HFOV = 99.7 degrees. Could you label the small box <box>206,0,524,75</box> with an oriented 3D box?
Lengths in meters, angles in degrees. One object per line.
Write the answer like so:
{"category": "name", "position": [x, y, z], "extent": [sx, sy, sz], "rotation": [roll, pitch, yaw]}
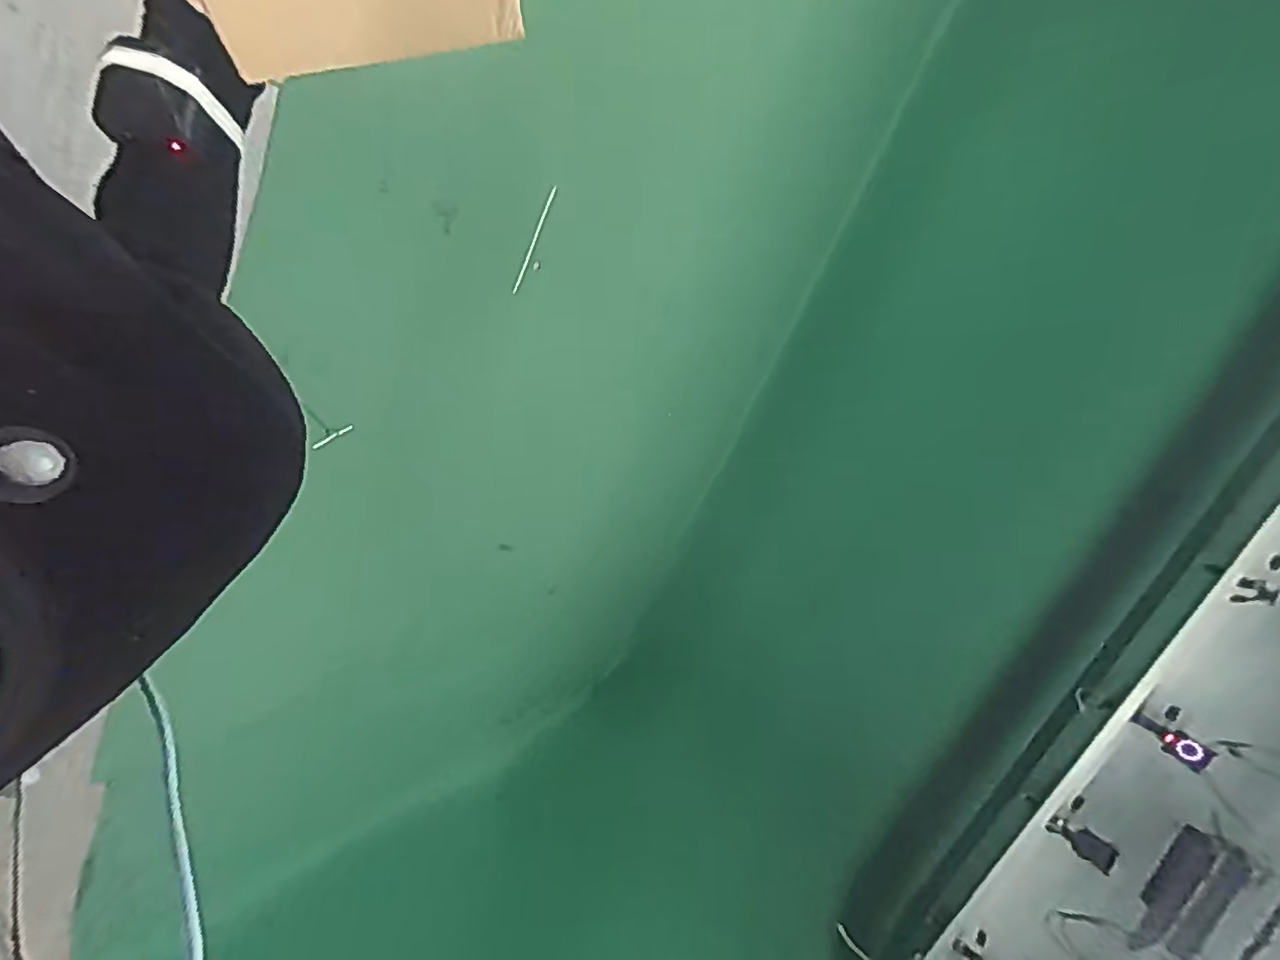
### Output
{"category": "small box", "position": [-0.176, -0.362, 0.283], "extent": [0.168, 0.179, 0.176], "rotation": [-19, 153, -9]}
